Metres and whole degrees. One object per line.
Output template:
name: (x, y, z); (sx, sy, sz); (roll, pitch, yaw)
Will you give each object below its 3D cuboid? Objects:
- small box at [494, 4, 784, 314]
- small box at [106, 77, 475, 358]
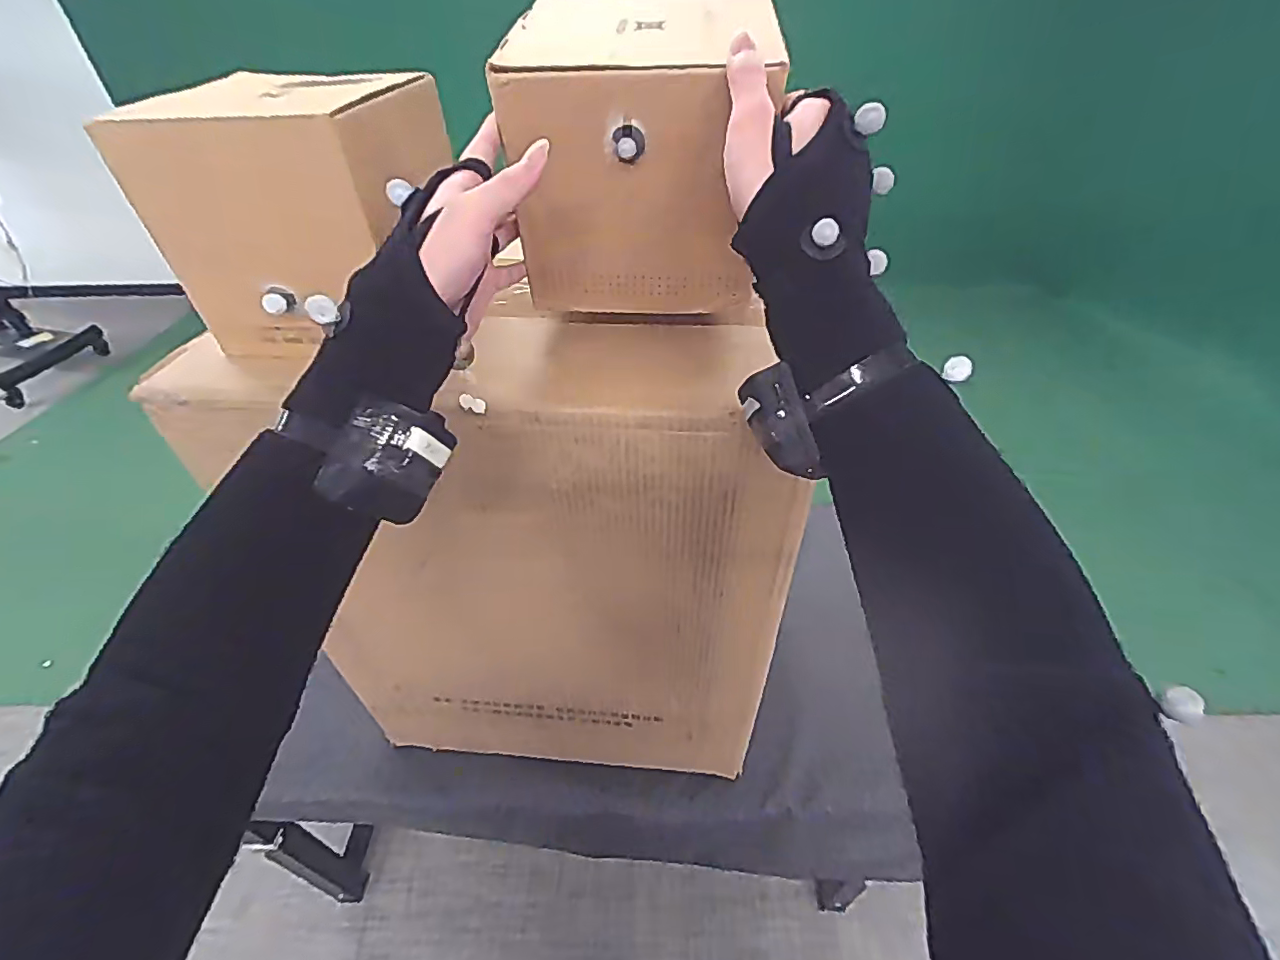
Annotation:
small box: (0.006, -0.249, 0.429); (0.179, 0.176, 0.168); (3, 52, 3)
small box: (-0.253, -0.221, 0.453); (0.168, 0.176, 0.179); (2, 44, 5)
